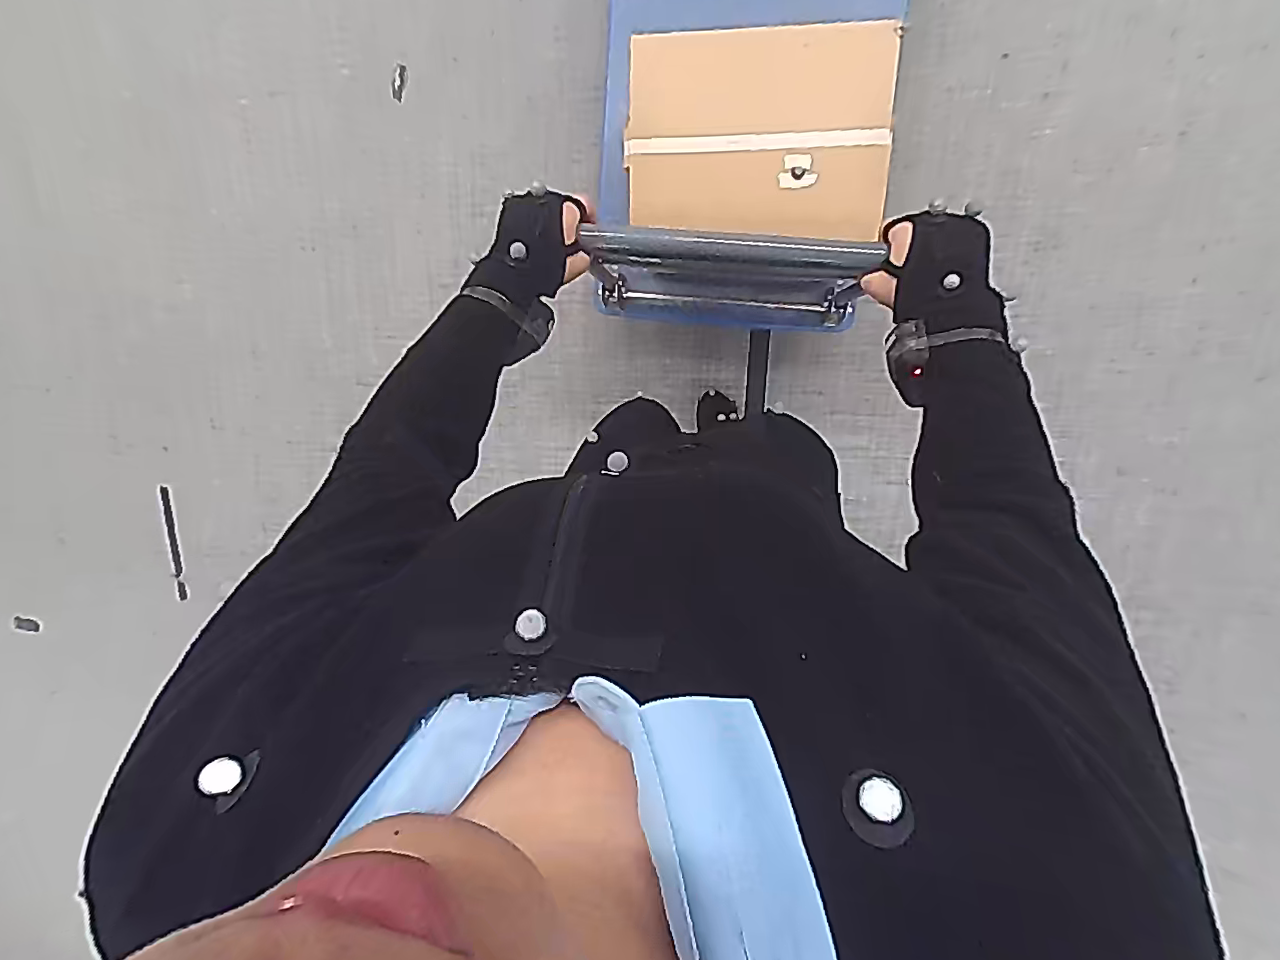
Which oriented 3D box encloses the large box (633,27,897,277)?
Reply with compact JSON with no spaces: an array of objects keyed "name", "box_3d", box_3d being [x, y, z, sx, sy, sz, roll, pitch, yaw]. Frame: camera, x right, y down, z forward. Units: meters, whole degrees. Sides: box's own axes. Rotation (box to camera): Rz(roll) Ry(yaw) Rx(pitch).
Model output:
[{"name":"large box","box_3d":[0.202,-0.564,1.005,0.408,0.320,0.320,2,104,6]}]
